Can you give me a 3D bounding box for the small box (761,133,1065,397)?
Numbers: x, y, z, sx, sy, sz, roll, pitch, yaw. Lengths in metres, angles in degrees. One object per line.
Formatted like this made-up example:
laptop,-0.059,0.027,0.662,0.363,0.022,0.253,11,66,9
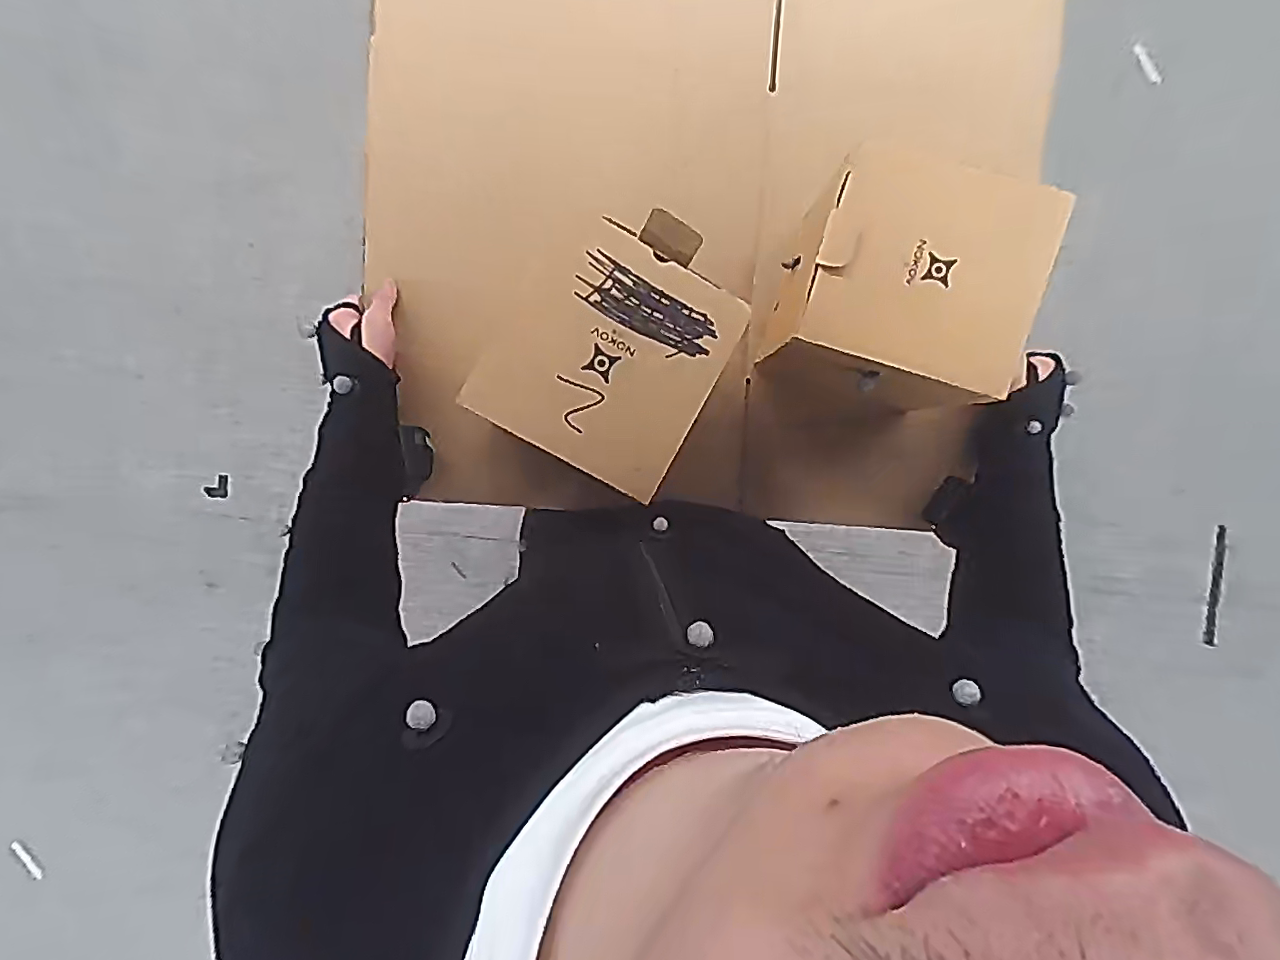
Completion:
small box,0.233,-0.180,0.513,0.179,0.176,0.168,17,95,1
